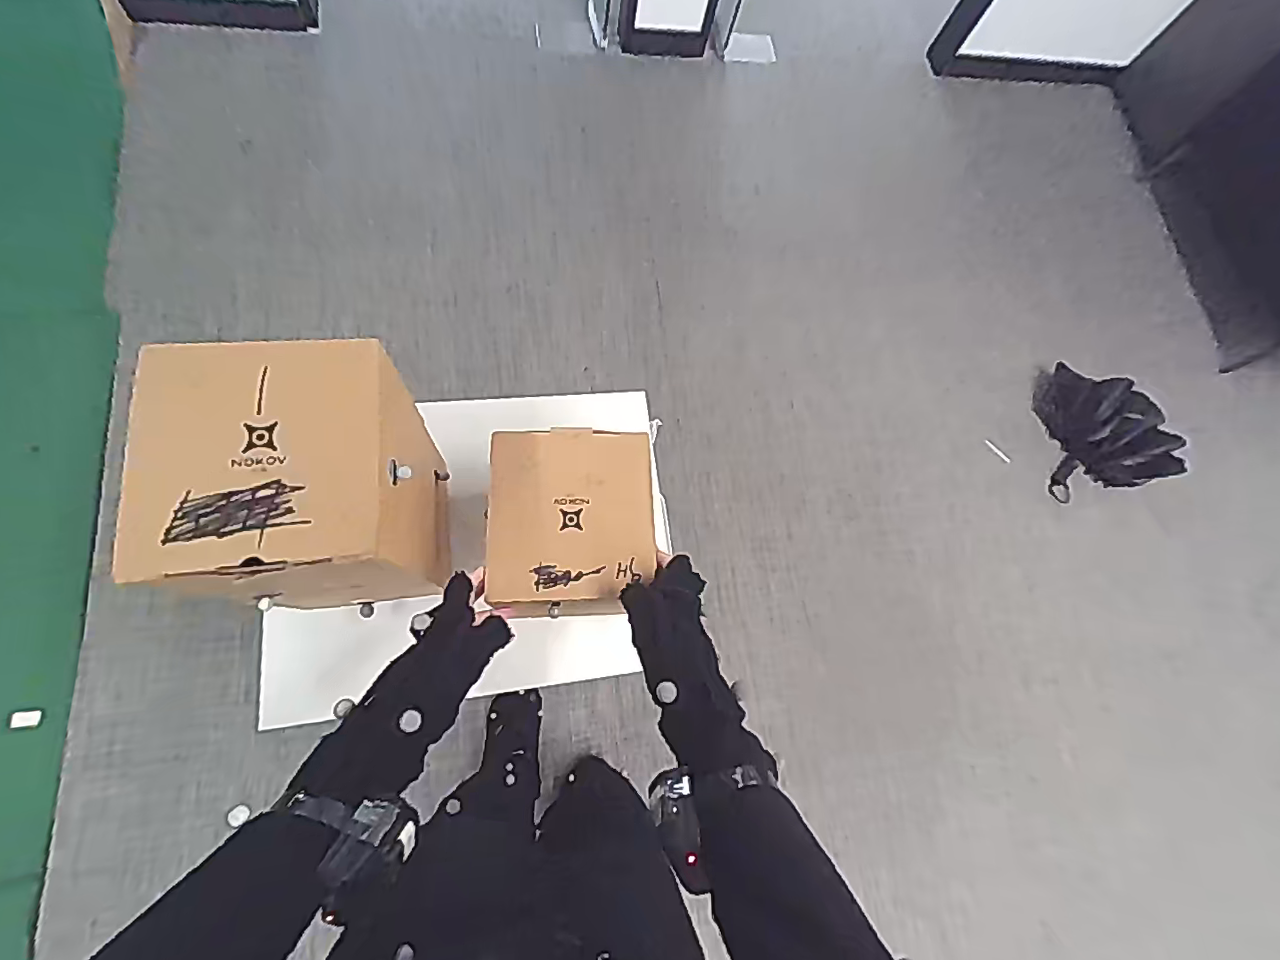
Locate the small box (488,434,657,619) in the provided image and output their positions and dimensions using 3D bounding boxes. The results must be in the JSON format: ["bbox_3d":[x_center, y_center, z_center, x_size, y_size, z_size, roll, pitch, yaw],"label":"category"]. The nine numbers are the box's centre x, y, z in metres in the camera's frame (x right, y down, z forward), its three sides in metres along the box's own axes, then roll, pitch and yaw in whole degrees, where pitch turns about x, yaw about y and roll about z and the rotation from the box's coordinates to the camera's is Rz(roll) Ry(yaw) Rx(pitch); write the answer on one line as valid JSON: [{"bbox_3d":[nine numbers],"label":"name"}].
[{"bbox_3d":[-0.077,0.061,0.622,0.168,0.176,0.179,0,71,-7],"label":"small box"}]

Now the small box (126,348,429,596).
[{"bbox_3d":[-0.288,0.005,0.475,0.168,0.176,0.179,-4,74,-11],"label":"small box"}]

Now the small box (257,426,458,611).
[{"bbox_3d":[-0.314,0.052,0.631,0.168,0.176,0.179,-6,76,-11],"label":"small box"}]
